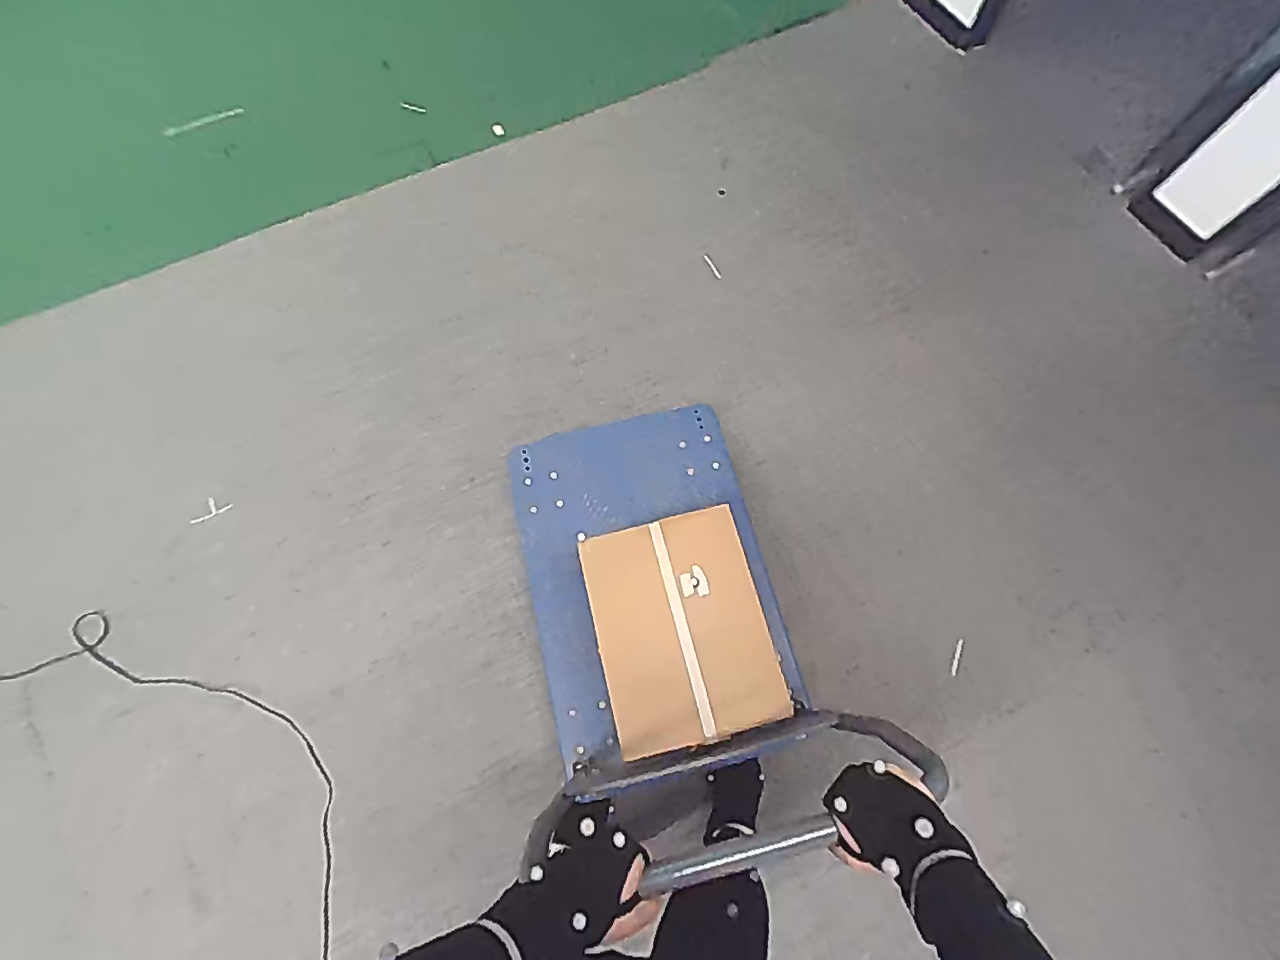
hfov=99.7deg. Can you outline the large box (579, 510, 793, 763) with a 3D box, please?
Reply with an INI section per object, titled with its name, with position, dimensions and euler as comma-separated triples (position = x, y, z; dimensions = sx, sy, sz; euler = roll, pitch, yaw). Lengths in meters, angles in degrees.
[large box]
position = 0.081, 0.327, 1.148
dimensions = 0.320, 0.320, 0.408
euler = -14, 69, -4
